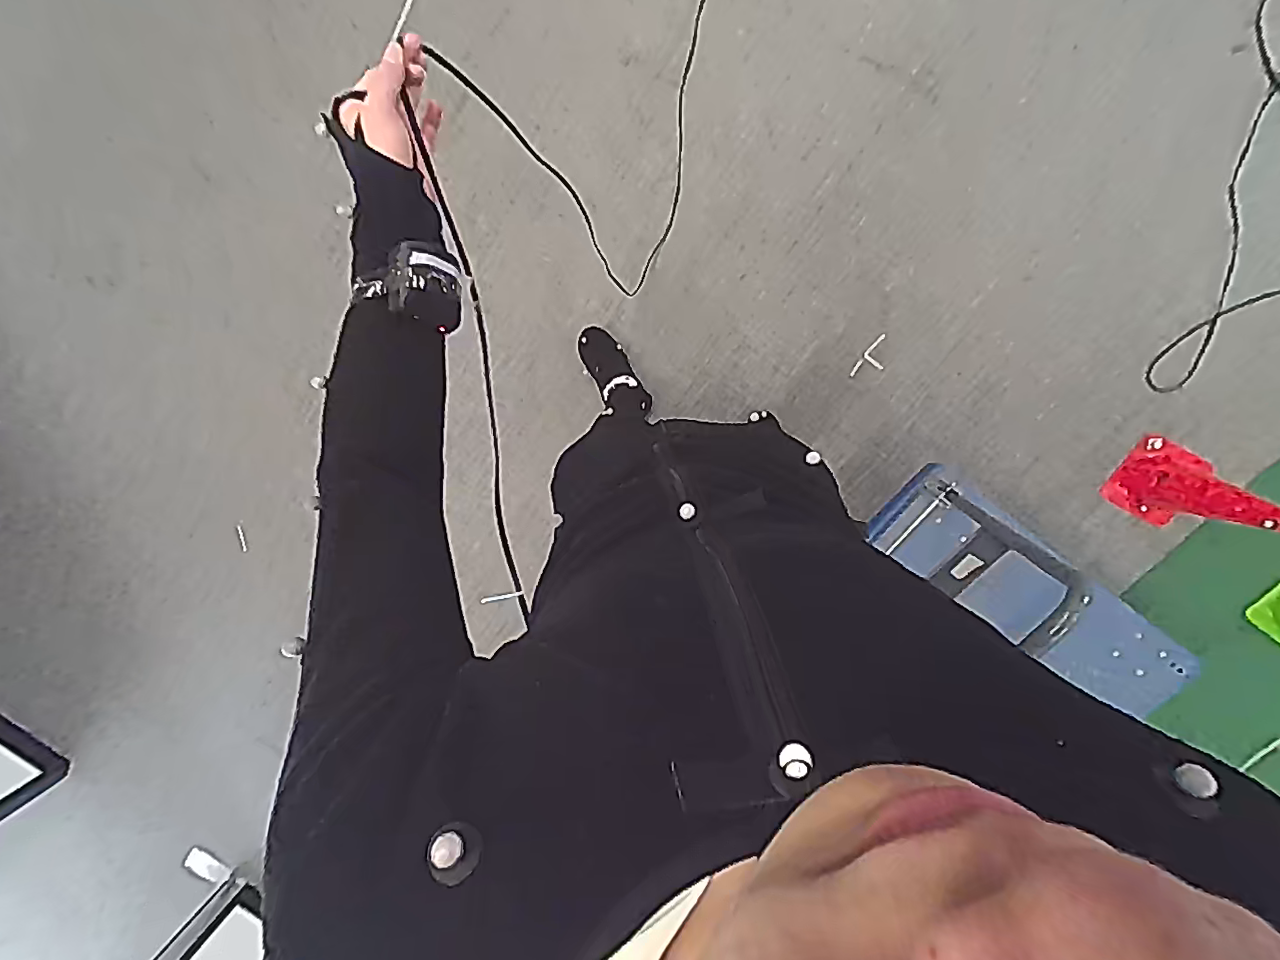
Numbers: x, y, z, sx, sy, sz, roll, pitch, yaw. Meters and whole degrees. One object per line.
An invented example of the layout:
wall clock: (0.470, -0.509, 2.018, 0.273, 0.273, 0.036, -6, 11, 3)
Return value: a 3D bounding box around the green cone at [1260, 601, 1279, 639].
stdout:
green cone: (1.768, 0.399, 1.266, 0.202, 0.368, 0.200, 36, 105, -2)
